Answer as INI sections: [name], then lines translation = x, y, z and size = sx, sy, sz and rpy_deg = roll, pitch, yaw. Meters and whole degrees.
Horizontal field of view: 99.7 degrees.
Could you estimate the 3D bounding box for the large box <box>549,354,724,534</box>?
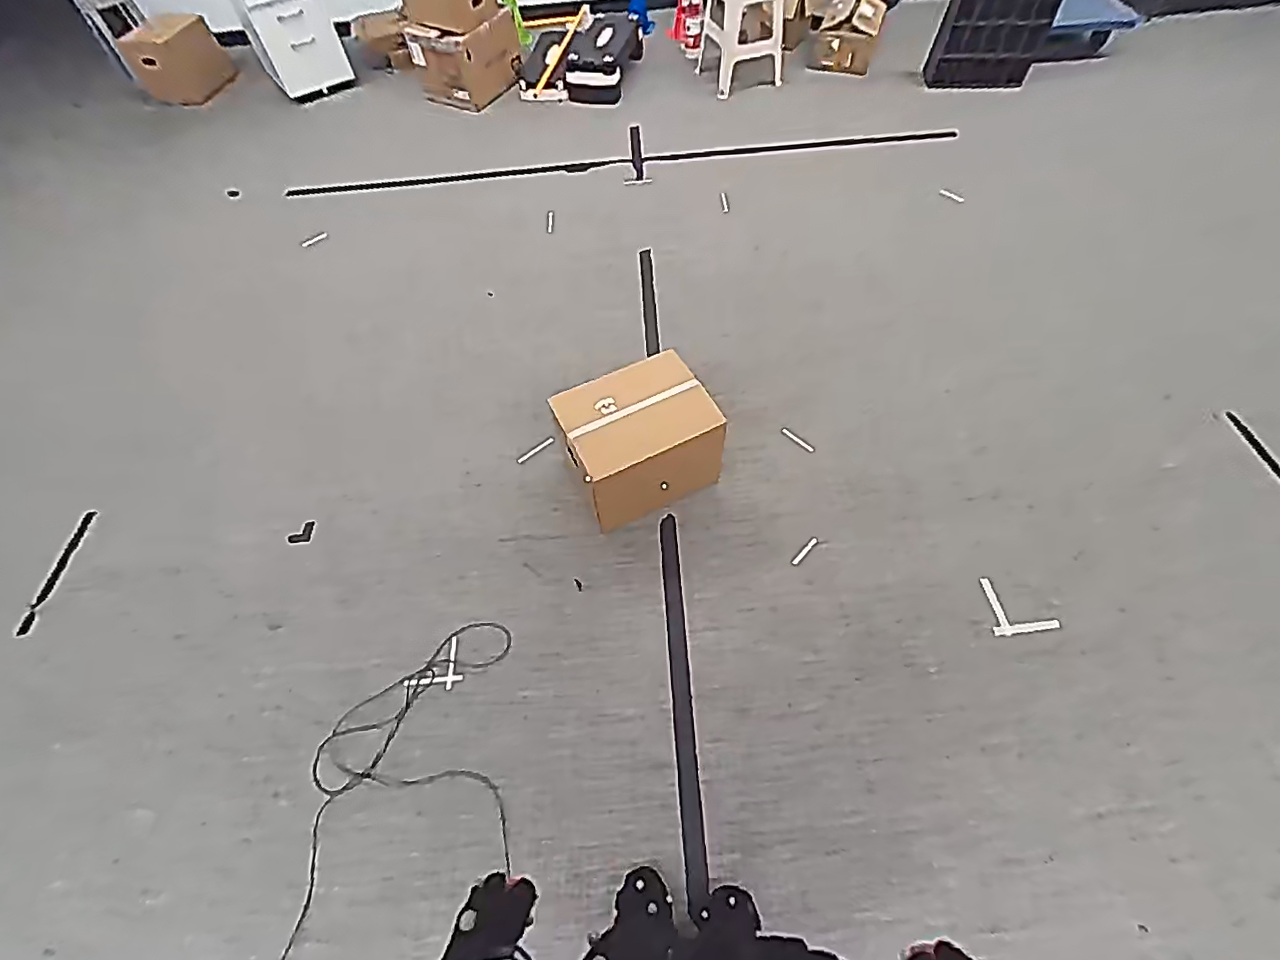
[large box]
translation = -0.006, -0.103, 1.618
size = 0.408, 0.320, 0.320
rpy_deg = -25, 60, -11
